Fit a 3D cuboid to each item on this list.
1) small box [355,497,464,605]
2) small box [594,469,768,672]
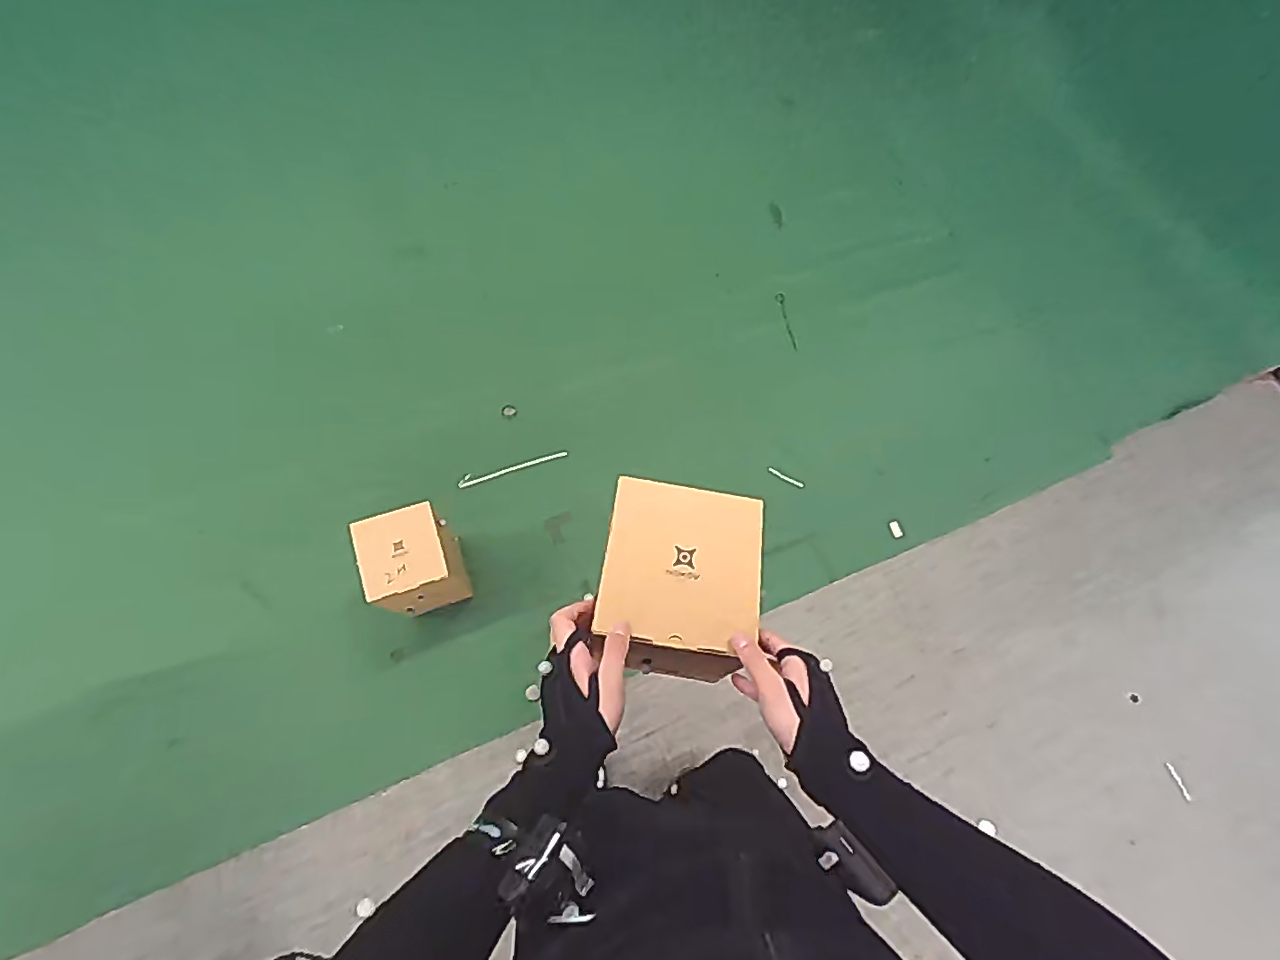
[{"bbox_3d":[-0.503,0.162,1.198,0.168,0.176,0.179,-17,75,-13],"label":"small box"},{"bbox_3d":[0.041,0.113,0.630,0.168,0.176,0.179,10,64,-3],"label":"small box"}]
